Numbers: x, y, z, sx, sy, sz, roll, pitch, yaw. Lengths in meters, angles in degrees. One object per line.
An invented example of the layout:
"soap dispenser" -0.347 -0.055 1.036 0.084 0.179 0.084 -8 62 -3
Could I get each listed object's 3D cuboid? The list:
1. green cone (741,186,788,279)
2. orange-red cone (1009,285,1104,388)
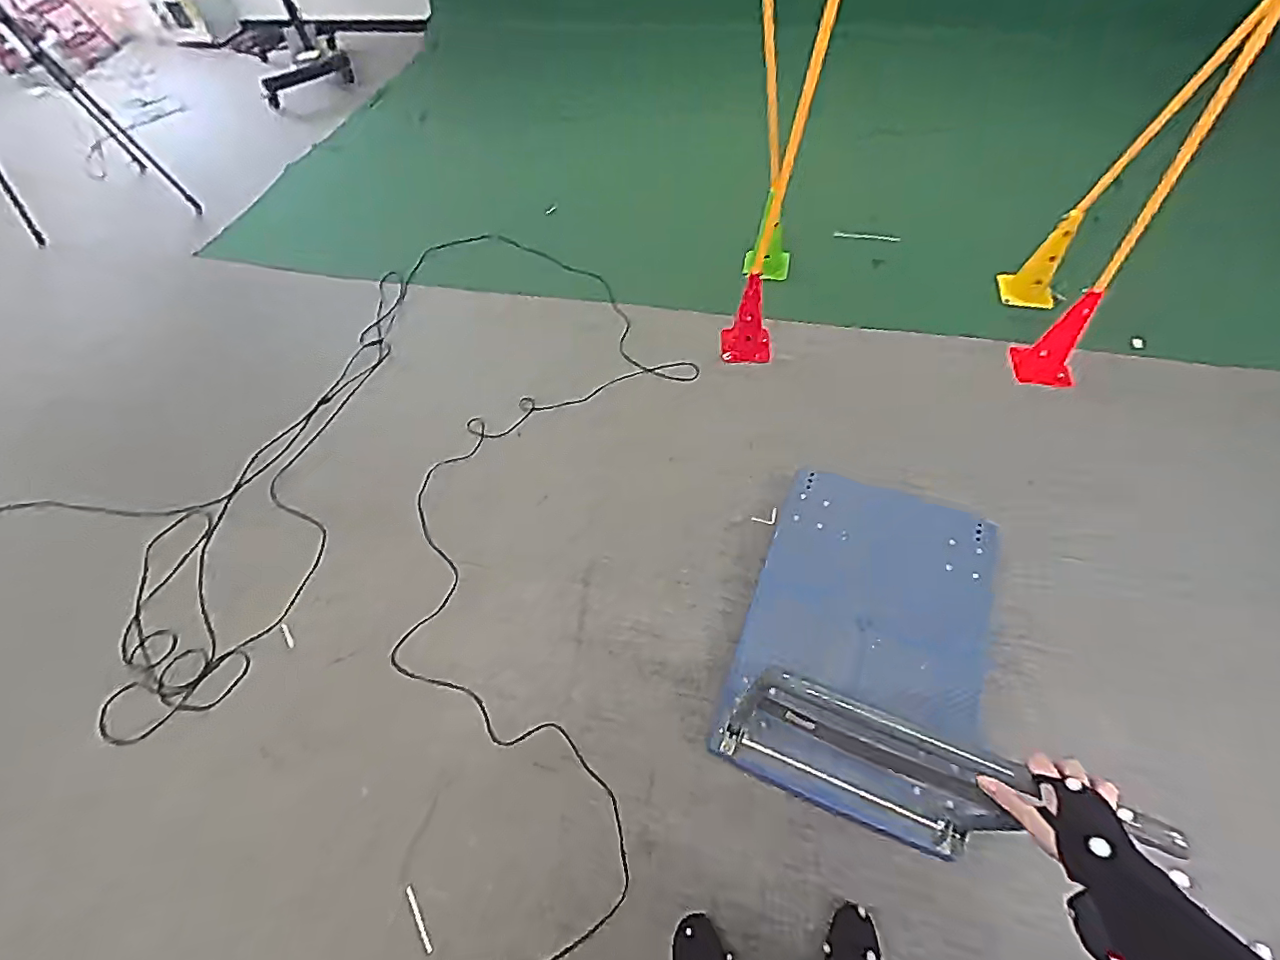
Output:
"green cone" 0.568 -1.096 2.369 0.200 0.368 0.202 8 56 10
"orange-red cone" 1.520 -0.533 1.930 0.198 0.360 0.199 9 56 9
